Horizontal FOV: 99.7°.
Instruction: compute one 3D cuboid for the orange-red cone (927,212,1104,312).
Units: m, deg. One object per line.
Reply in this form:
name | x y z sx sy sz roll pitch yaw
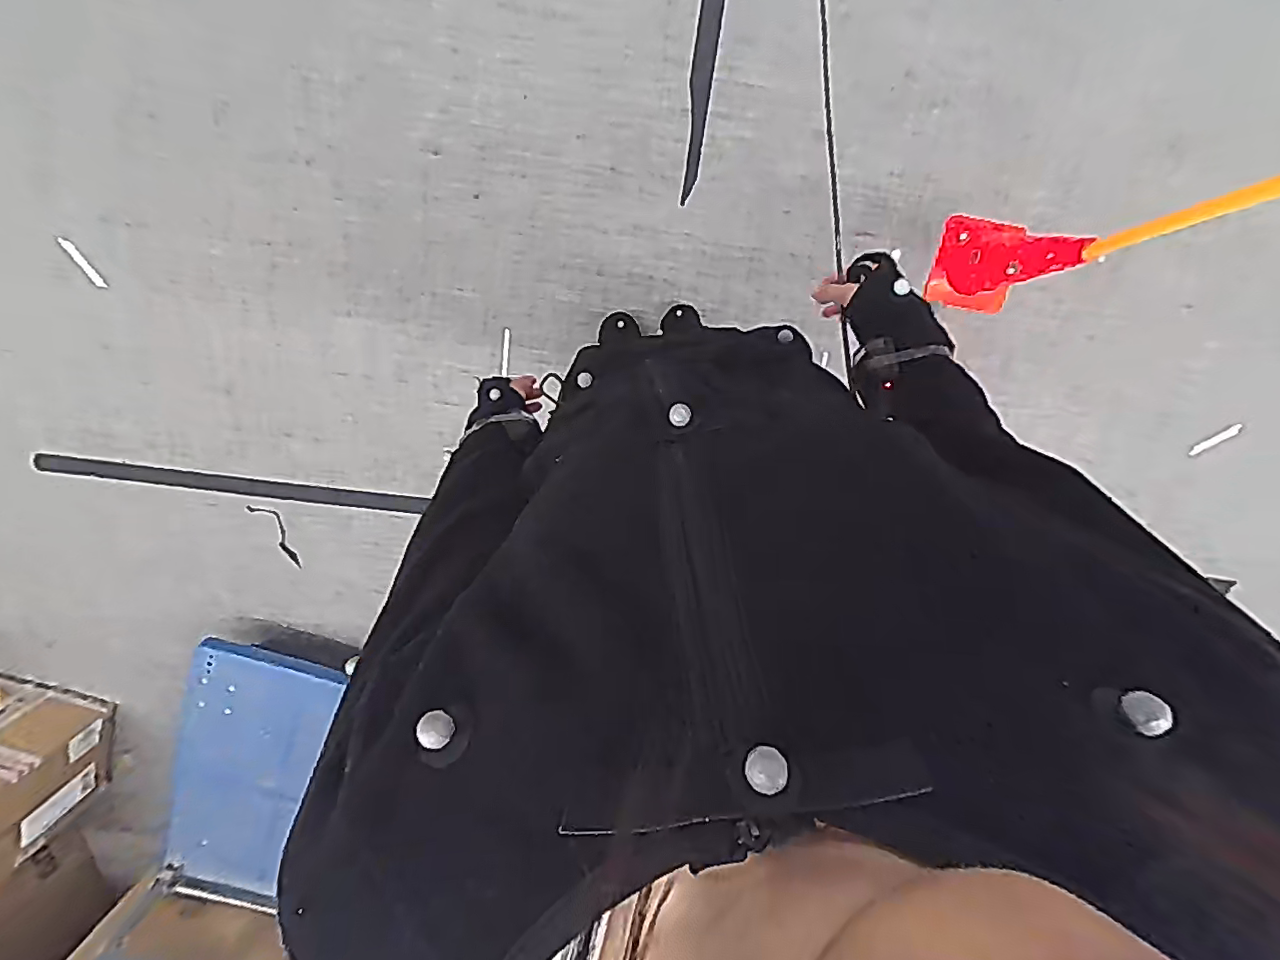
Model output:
orange-red cone | 0.803 -0.463 1.122 0.198 0.360 0.199 11 108 -4
